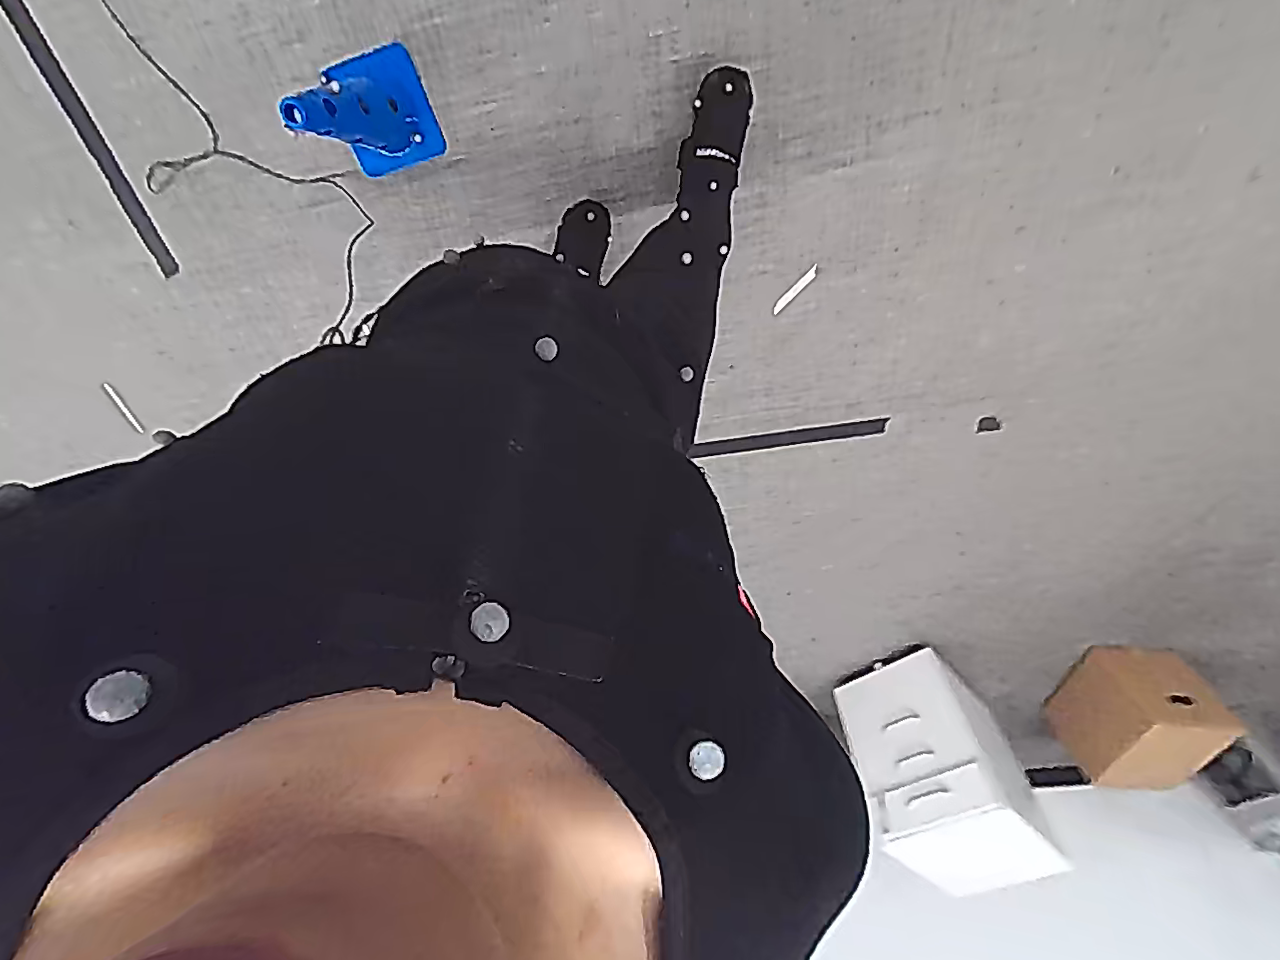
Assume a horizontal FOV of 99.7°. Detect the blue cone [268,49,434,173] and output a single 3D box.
[{"bbox_3d":[-0.546,-0.672,0.991,0.192,0.380,0.193,-11,123,9],"label":"blue cone"}]
